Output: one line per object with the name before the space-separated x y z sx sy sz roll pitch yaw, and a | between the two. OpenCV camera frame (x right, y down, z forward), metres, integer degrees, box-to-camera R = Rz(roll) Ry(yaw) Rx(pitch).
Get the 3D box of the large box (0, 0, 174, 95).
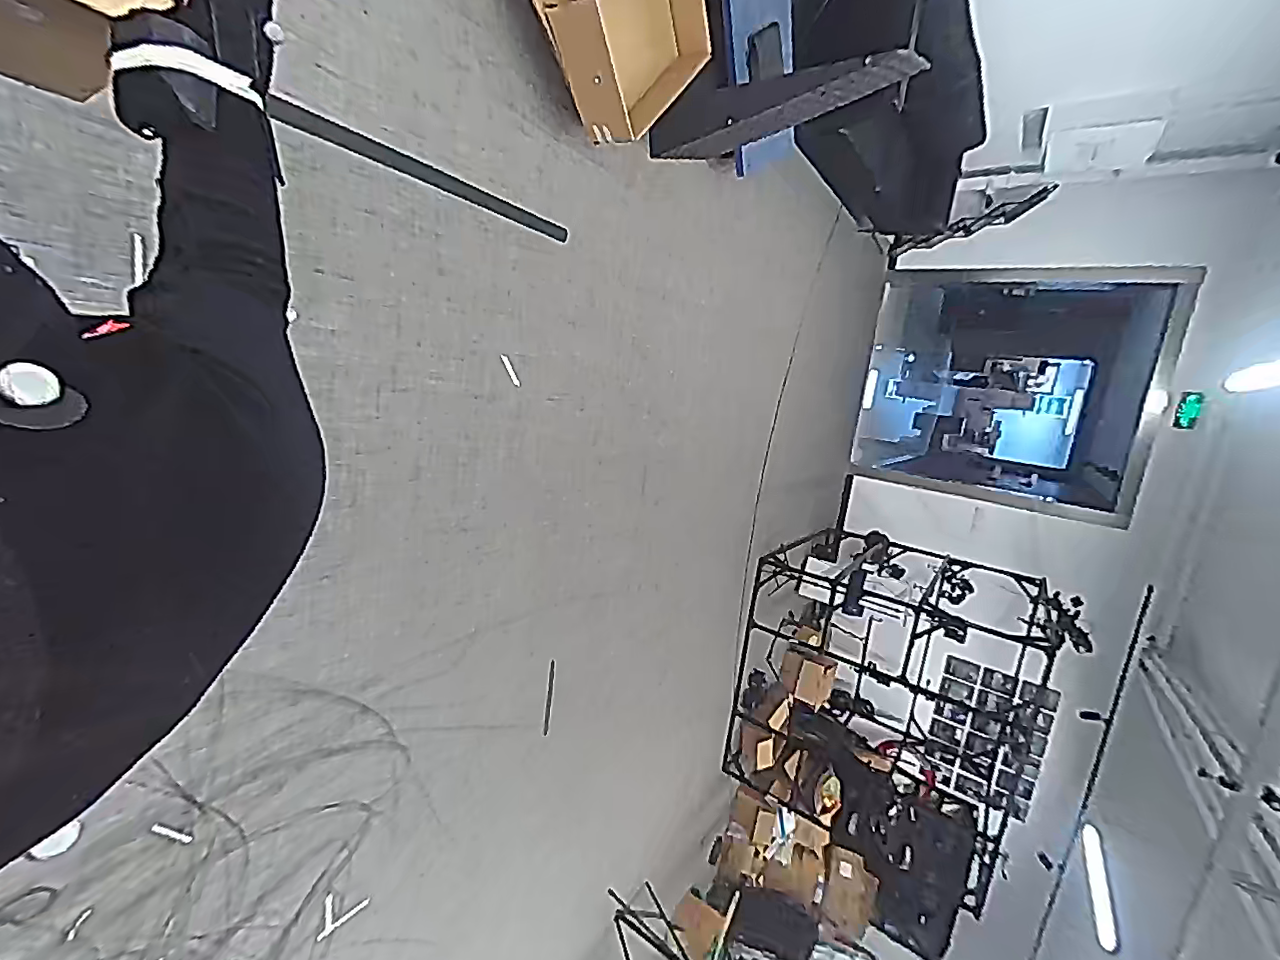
large box | -0.550 -0.484 0.283 0.408 0.320 0.320 -6 111 -54
